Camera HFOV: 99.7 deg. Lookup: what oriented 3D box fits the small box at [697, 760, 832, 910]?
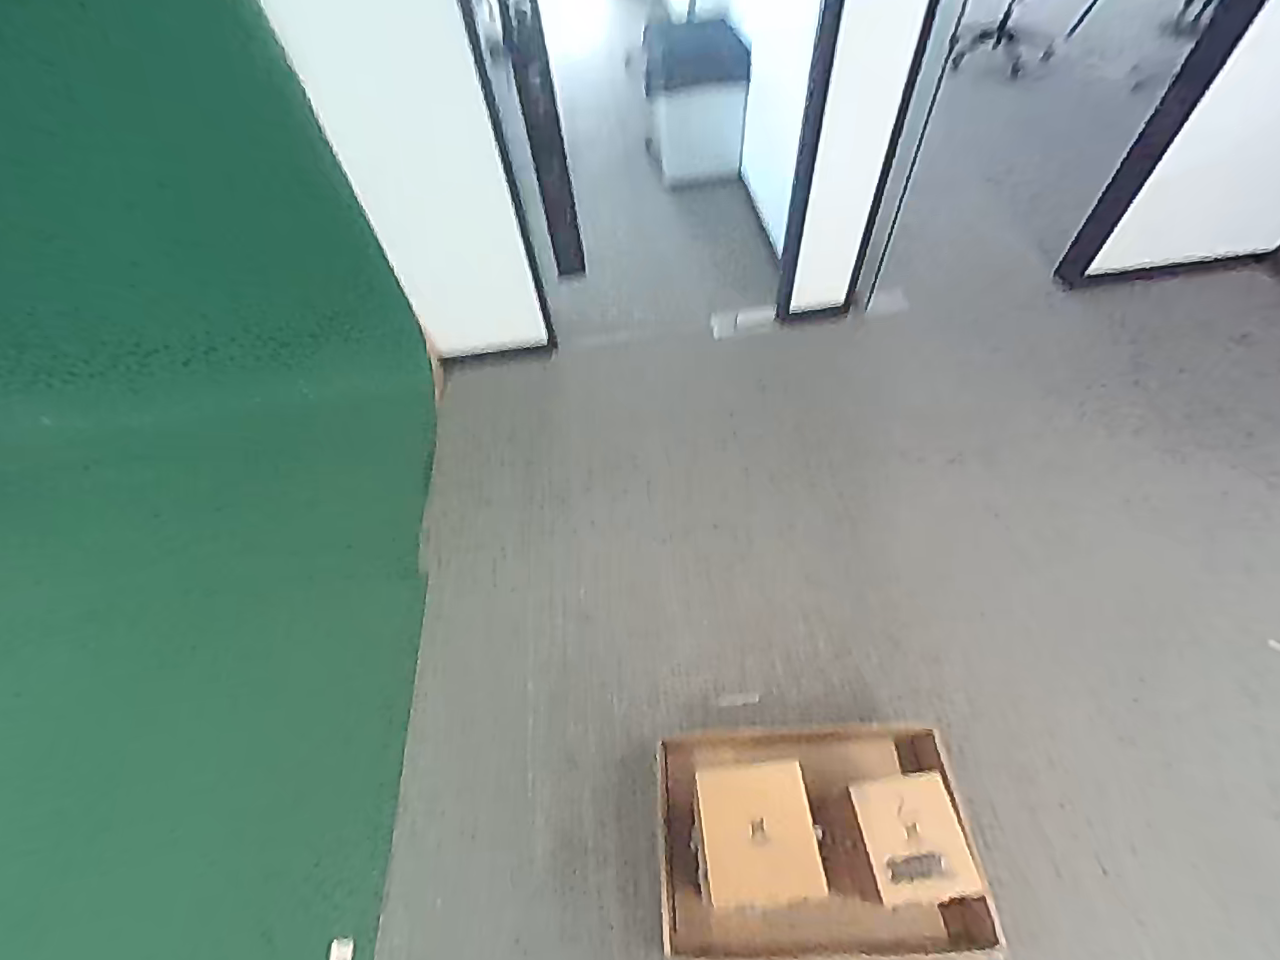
[{"bbox_3d":[0.183,0.564,0.859,0.168,0.176,0.179,-7,54,1],"label":"small box"}]
